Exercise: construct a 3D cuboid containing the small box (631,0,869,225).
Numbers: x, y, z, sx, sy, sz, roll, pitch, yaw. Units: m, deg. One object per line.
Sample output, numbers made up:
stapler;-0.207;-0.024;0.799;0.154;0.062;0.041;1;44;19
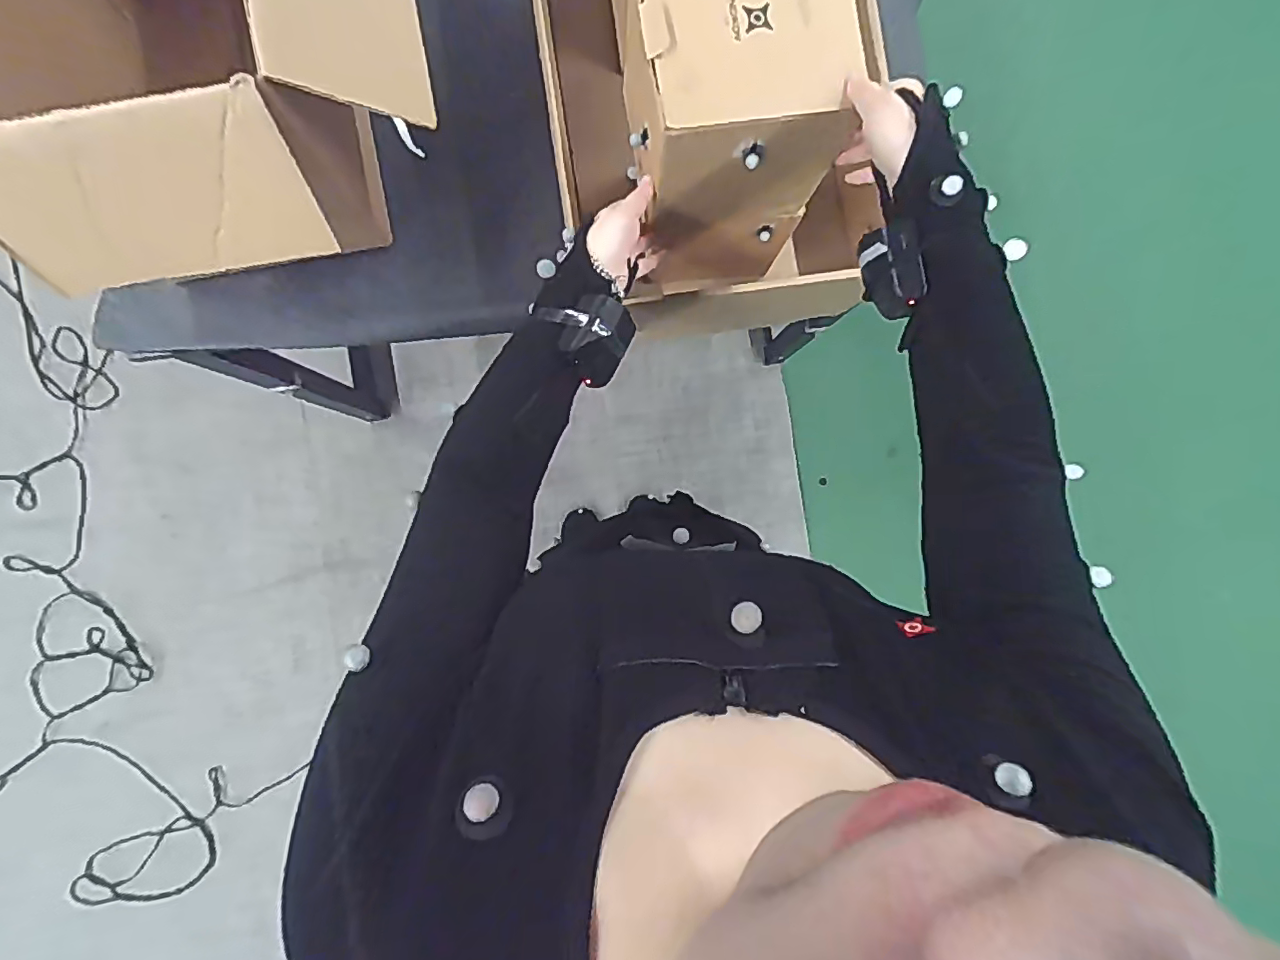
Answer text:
small box;0.087;-0.367;0.518;0.179;0.176;0.168;-9;90;-4
